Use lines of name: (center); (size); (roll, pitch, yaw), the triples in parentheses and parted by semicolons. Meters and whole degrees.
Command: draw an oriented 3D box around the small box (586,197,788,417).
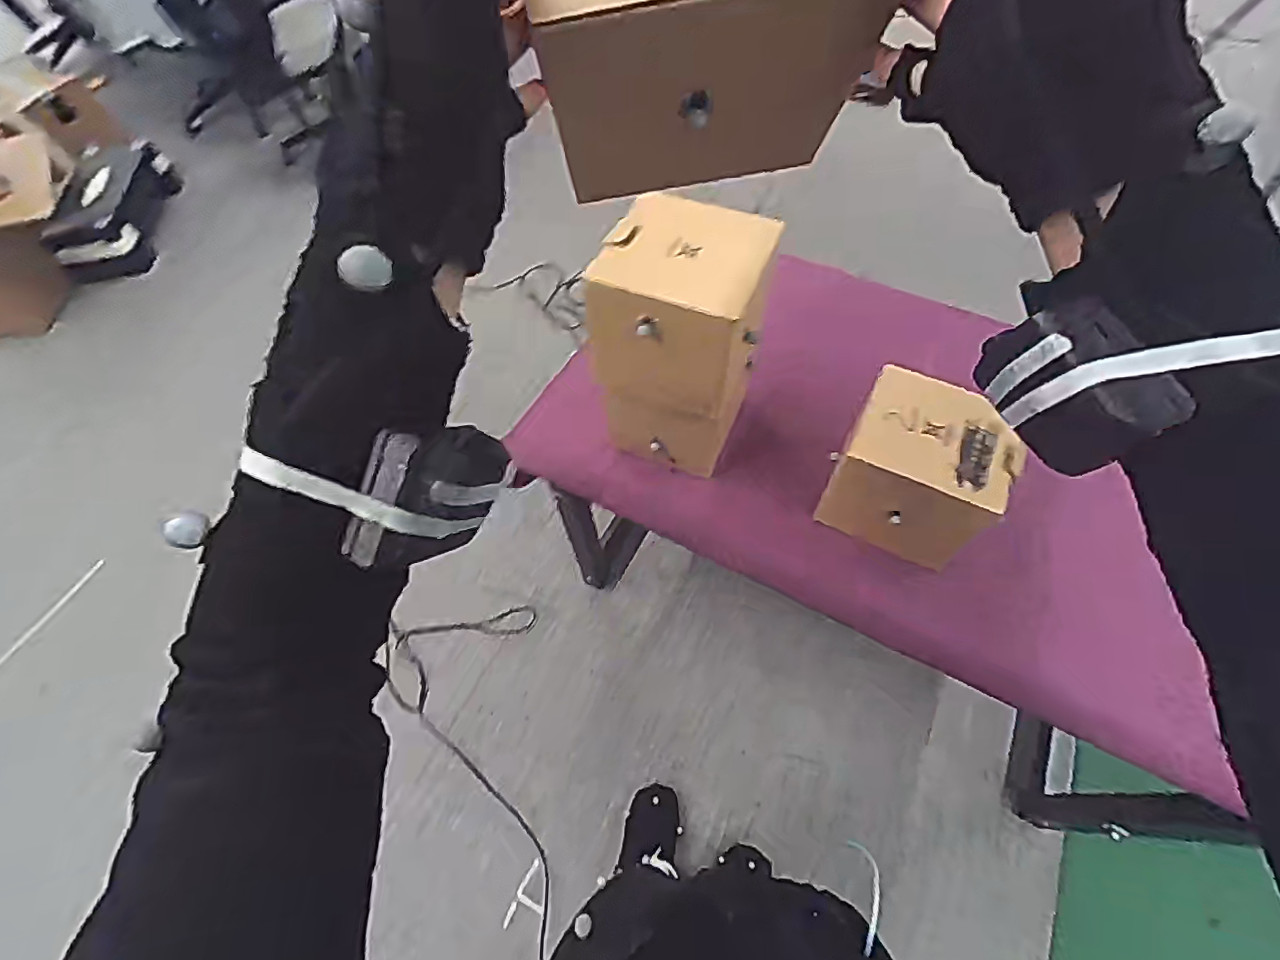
small box: (0.056, -0.201, 0.656); (0.179, 0.176, 0.168); (21, 63, 13)

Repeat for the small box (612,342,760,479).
small box: (0.063, -0.134, 0.805); (0.168, 0.176, 0.179); (21, 62, 13)
